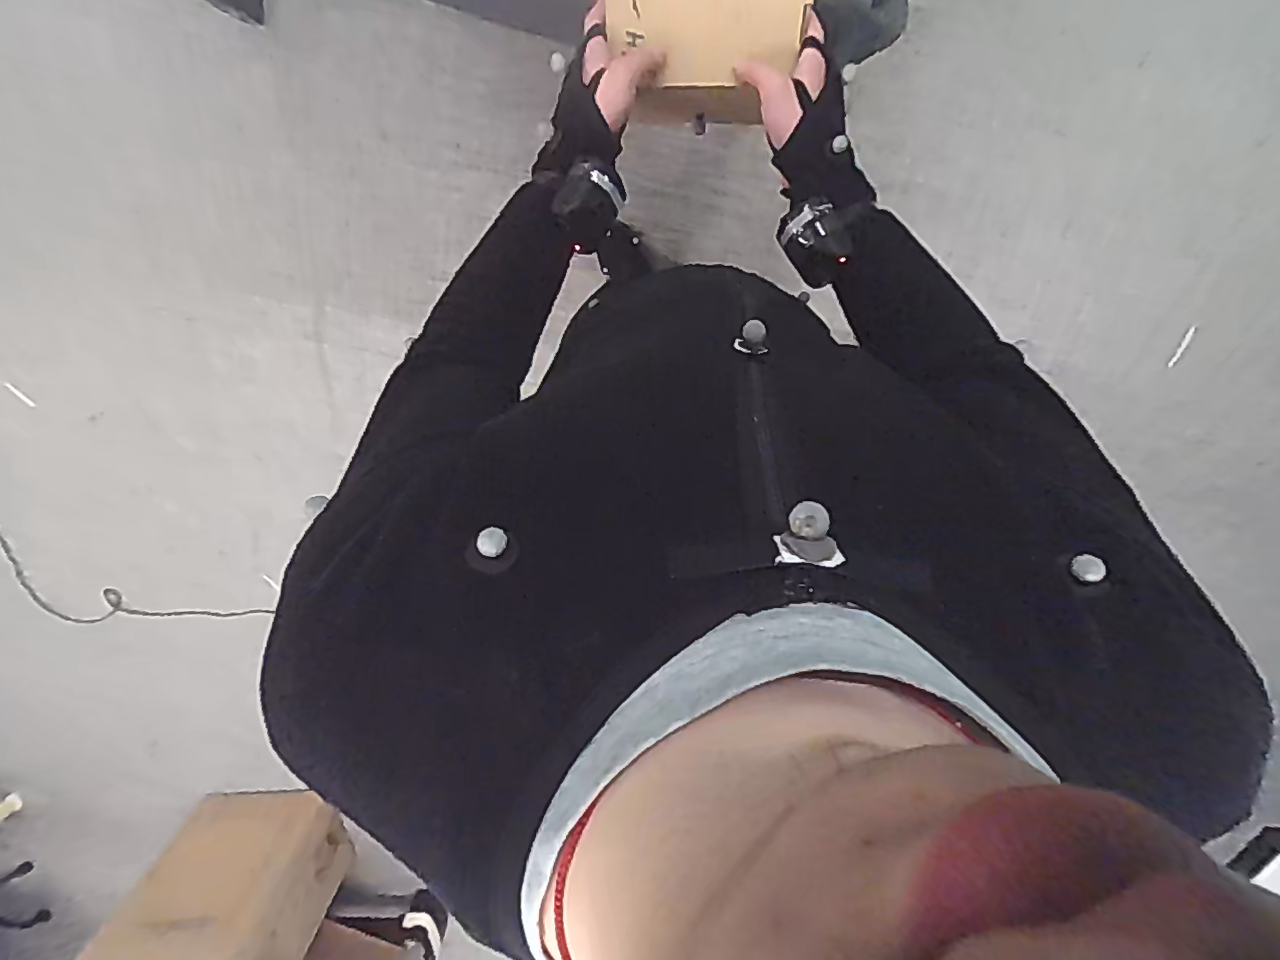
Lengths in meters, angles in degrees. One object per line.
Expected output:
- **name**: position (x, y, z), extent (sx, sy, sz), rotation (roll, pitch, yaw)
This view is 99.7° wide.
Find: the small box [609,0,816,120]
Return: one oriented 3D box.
- **small box**: position (0.065, -0.457, 0.516), extent (0.179, 0.176, 0.168), rotation (3, 115, 2)
